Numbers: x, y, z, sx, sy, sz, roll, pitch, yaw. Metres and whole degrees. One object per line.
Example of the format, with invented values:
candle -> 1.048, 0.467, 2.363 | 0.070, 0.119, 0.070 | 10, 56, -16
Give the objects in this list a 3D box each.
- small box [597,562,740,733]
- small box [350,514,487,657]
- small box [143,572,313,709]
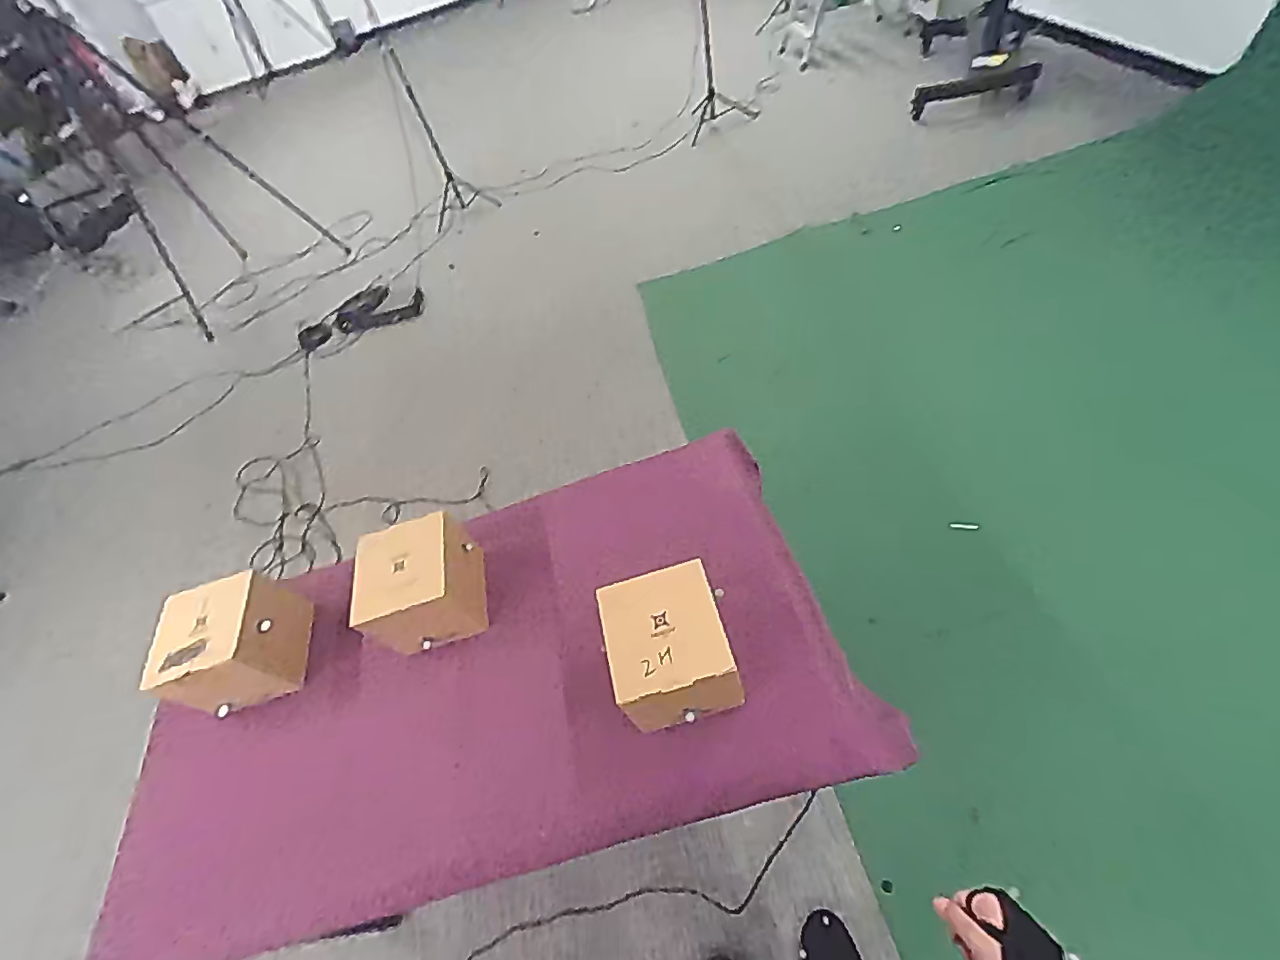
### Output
small box -> 0.045, 0.256, 0.819 | 0.168, 0.176, 0.179 | -17, 51, 3
small box -> -0.391, 0.195, 0.983 | 0.168, 0.176, 0.179 | -18, 53, 2
small box -> -0.733, 0.302, 0.988 | 0.168, 0.176, 0.179 | -18, 52, 0
